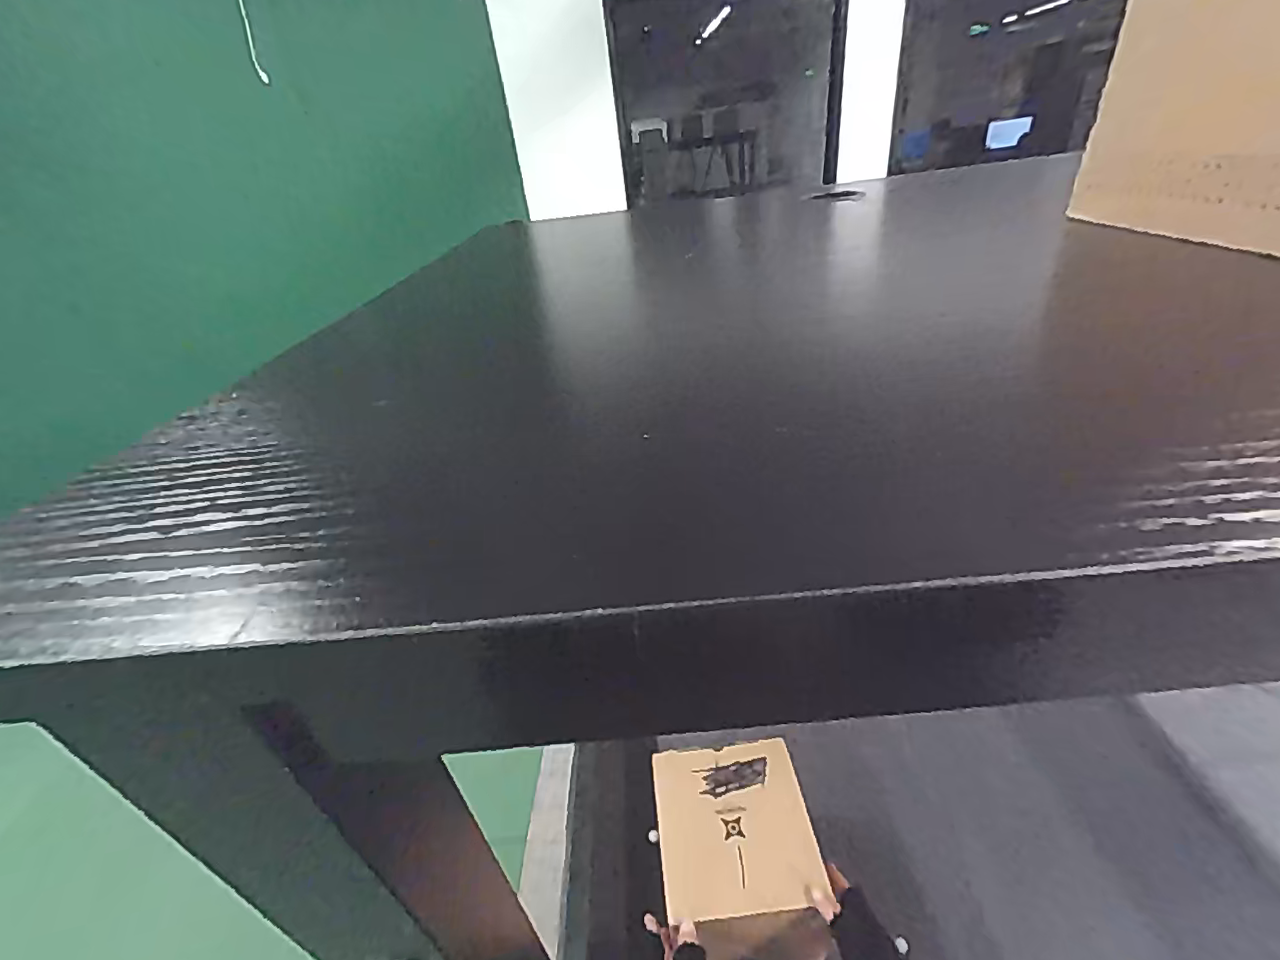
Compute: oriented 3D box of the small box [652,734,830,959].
[{"bbox_3d":[0.106,0.434,0.633,0.168,0.176,0.179,-8,33,0],"label":"small box"}]
